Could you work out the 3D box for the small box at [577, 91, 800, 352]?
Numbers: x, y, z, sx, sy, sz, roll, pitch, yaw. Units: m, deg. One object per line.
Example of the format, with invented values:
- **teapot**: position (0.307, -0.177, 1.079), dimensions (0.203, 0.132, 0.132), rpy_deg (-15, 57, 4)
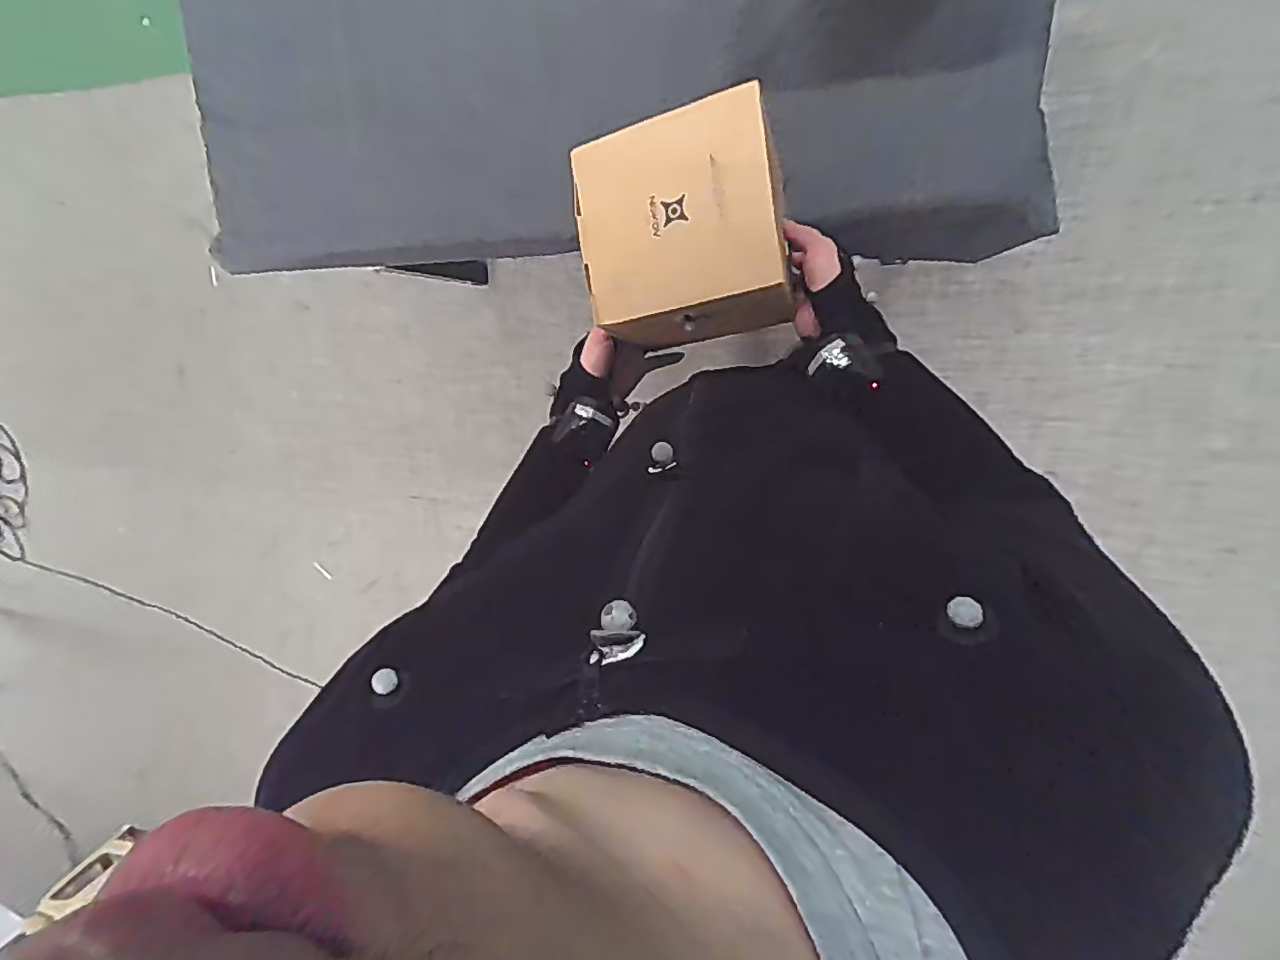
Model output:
- **small box**: position (0.059, -0.235, 0.549), dimensions (0.179, 0.176, 0.168), rpy_deg (-8, 93, 19)
